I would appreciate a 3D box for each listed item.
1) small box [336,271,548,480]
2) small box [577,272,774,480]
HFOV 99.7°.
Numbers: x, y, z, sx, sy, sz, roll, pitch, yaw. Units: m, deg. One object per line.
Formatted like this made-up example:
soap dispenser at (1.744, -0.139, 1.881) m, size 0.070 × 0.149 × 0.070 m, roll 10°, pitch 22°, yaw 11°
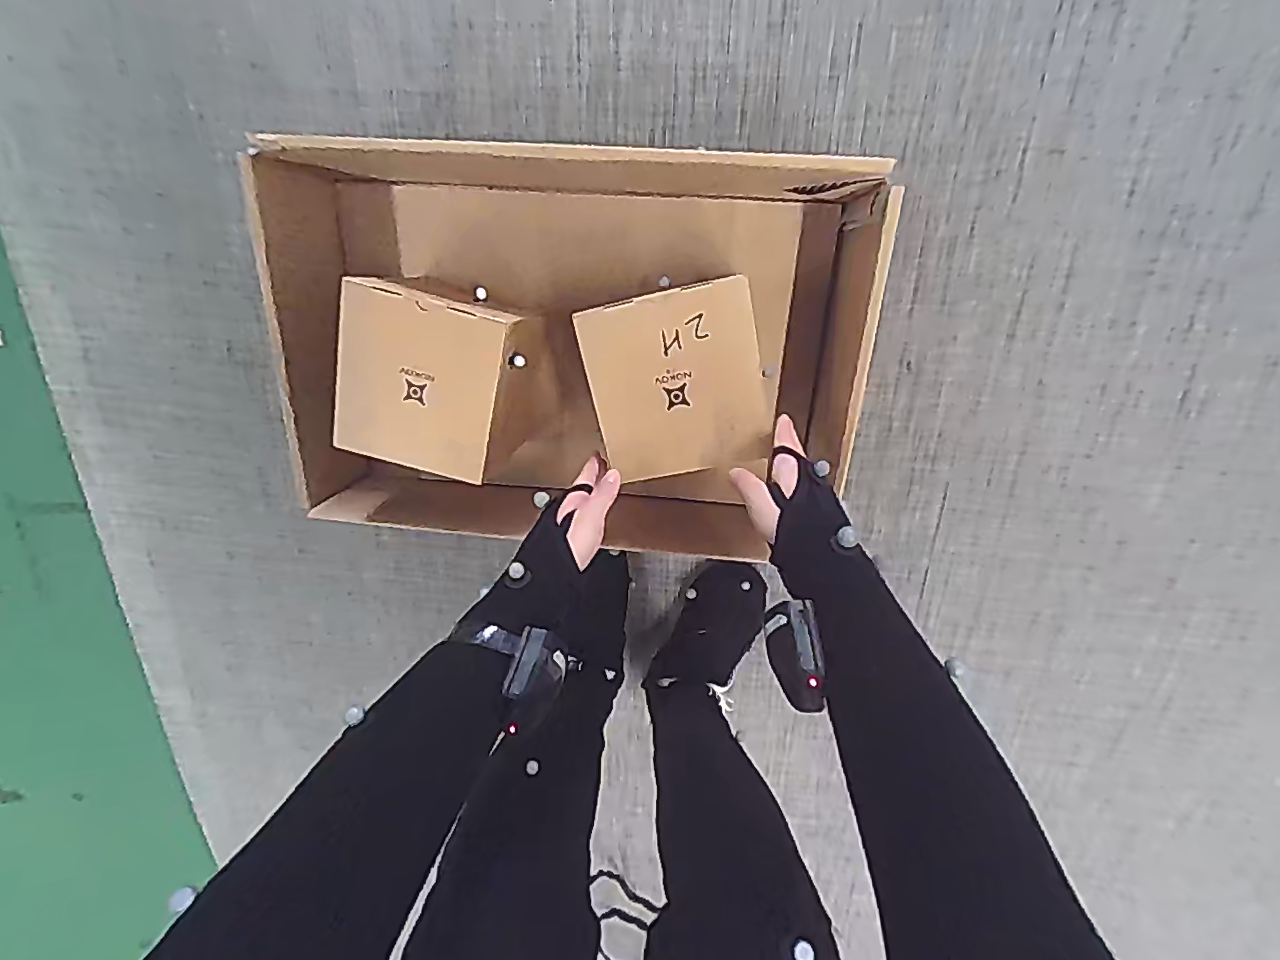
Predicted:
small box at (-0.214, -0.125, 0.616) m, size 0.168 × 0.176 × 0.179 m, roll 15°, pitch 109°, yaw 0°
small box at (0.046, -0.120, 0.588) m, size 0.168 × 0.176 × 0.179 m, roll -10°, pitch 108°, yaw 10°
